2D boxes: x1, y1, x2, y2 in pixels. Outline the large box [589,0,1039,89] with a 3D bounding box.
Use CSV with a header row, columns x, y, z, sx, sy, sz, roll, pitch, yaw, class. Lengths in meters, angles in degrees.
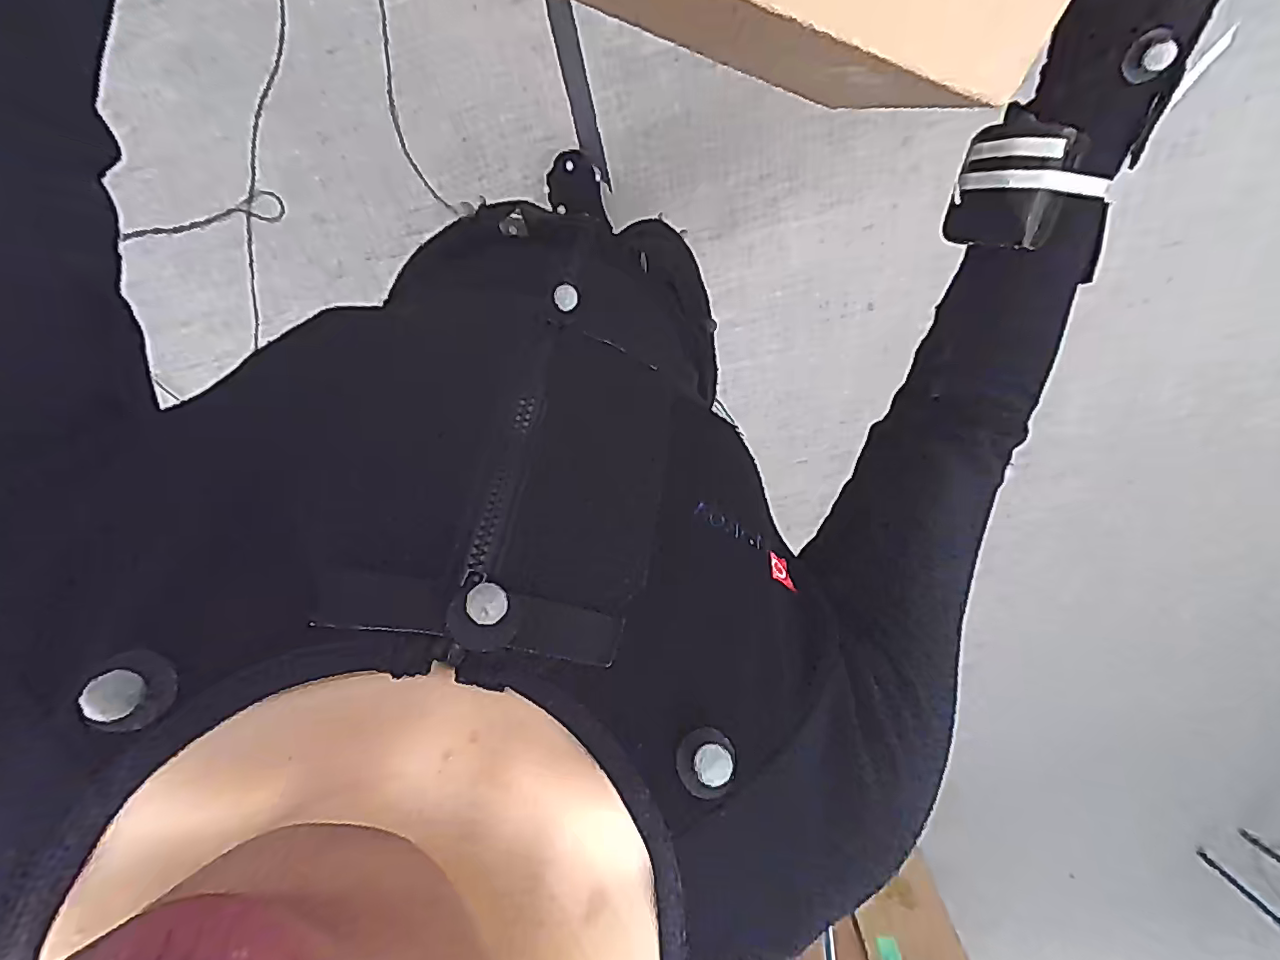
x,y,z,sx,sy,sz,roll,pitch,yaw,class
0.056,-0.482,0.322,0.408,0.320,0.320,13,124,-10,large box
